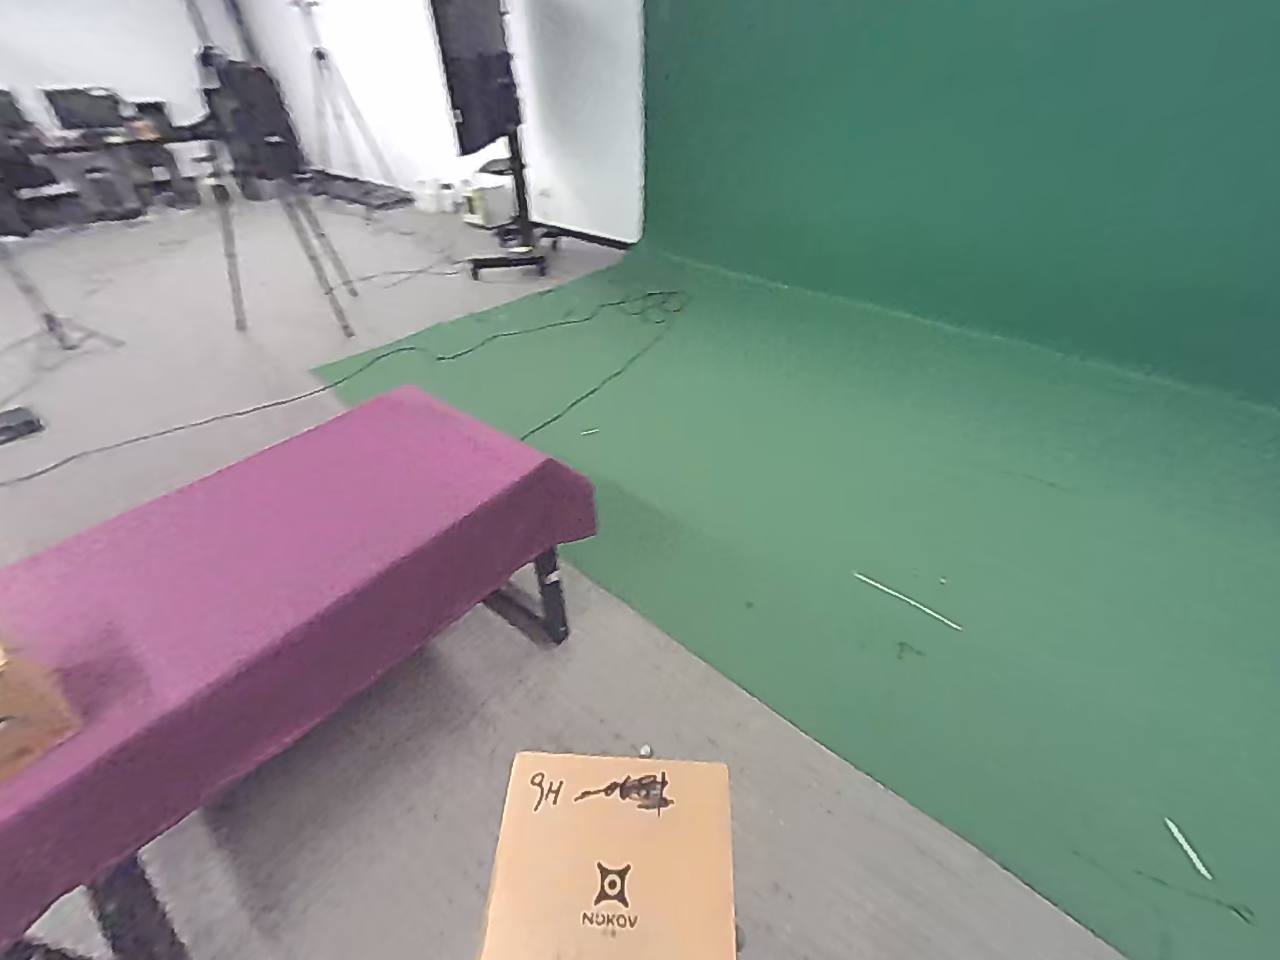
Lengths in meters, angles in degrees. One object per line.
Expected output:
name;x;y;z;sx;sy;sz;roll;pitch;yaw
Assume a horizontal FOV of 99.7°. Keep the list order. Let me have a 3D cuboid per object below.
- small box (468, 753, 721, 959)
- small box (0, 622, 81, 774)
small box;-0.024;0.329;0.425;0.168;0.176;0.179;1;53;3
small box;-0.943;0.312;0.748;0.179;0.176;0.168;24;44;28
